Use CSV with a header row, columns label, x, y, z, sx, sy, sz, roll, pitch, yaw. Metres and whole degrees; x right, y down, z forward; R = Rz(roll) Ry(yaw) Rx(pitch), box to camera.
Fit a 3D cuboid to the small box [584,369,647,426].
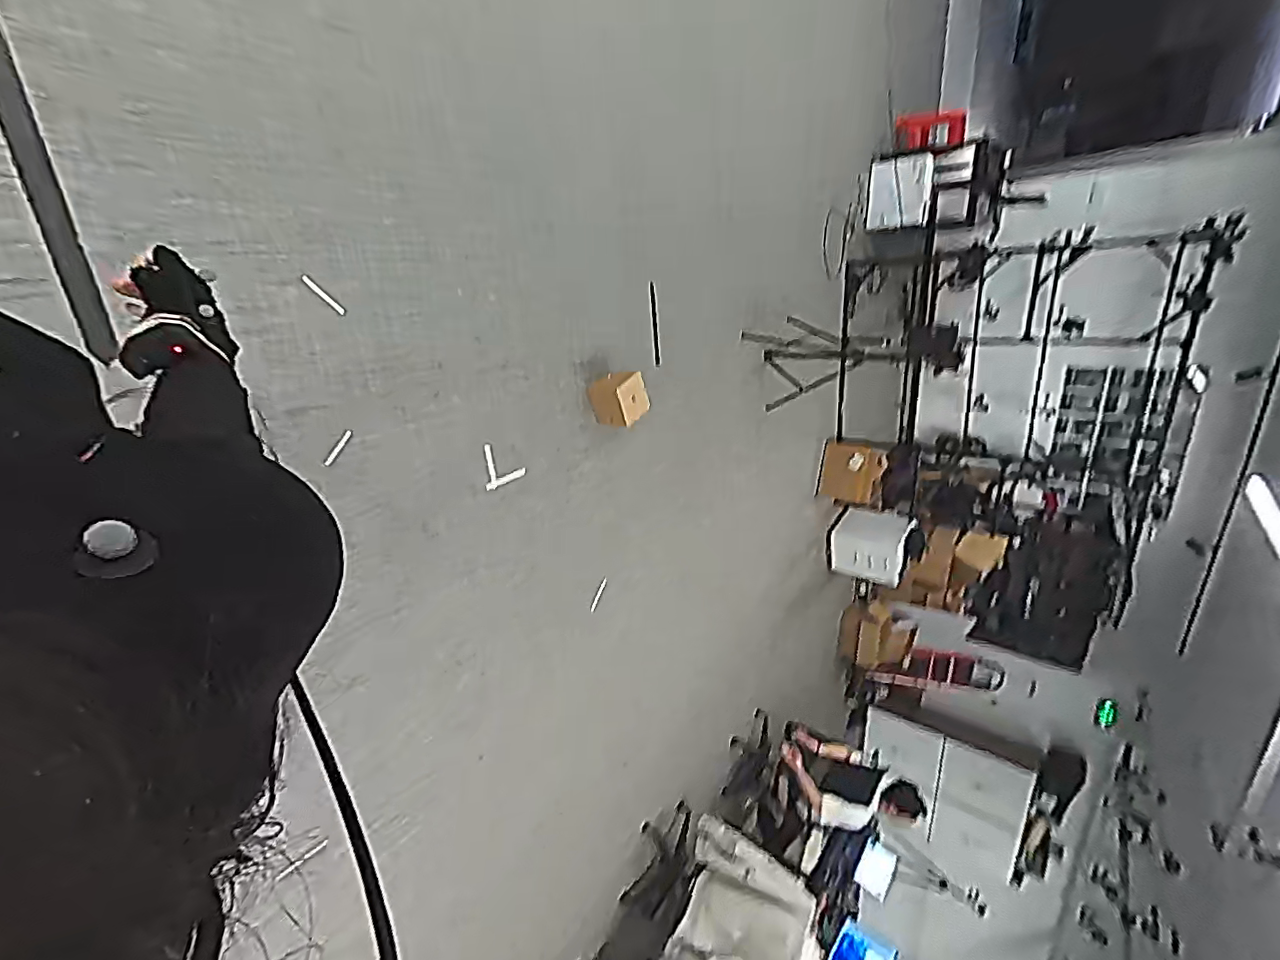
label,x,y,z,sx,sy,sz,roll,pitch,yaw
small box,-0.101,-0.342,2.206,0.168,0.176,0.179,-47,132,-36
